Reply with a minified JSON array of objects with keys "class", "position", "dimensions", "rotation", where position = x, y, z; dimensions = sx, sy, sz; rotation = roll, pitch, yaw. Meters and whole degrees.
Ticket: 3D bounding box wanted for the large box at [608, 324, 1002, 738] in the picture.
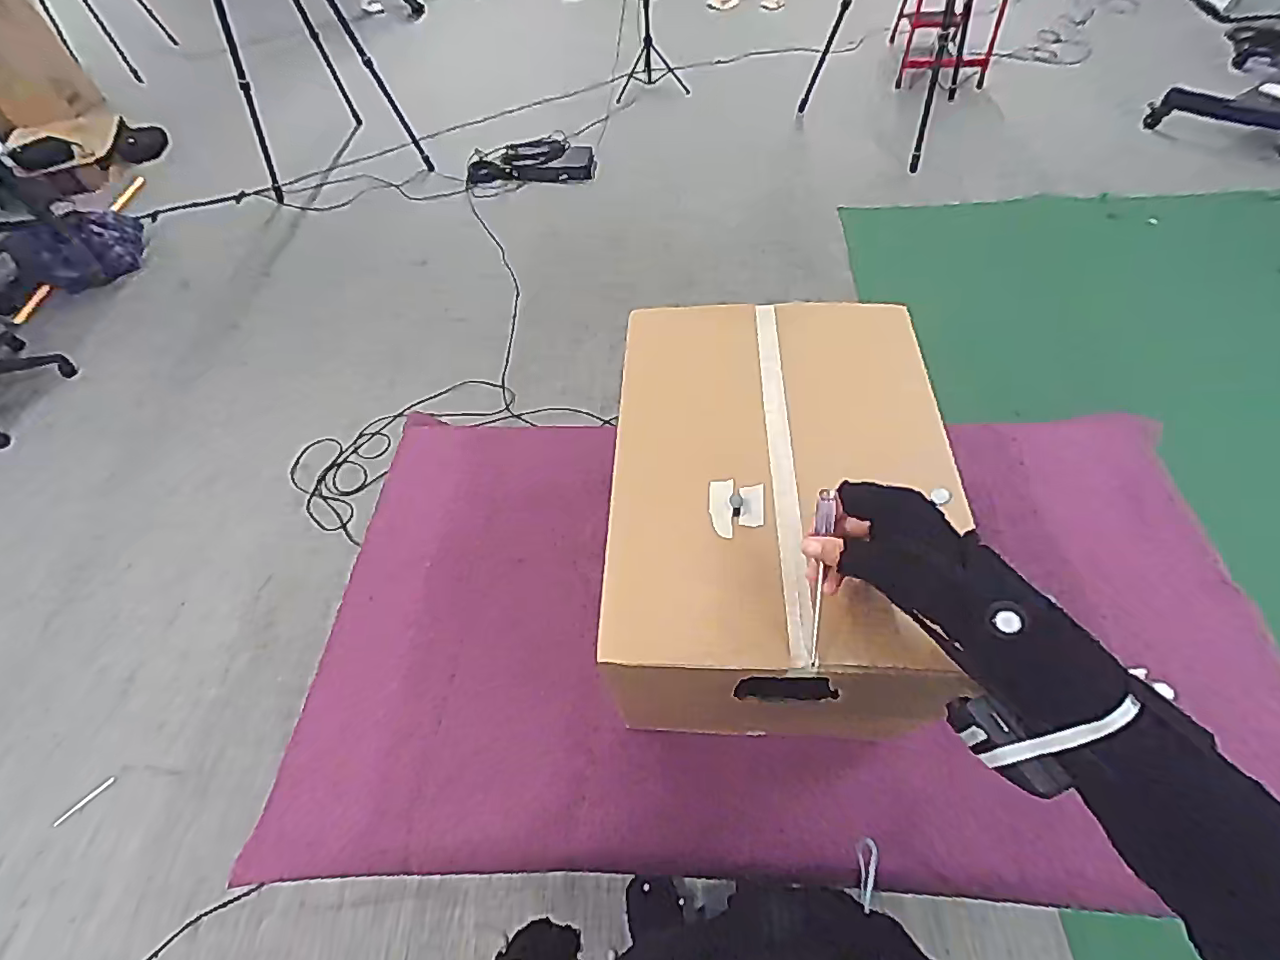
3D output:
[{"class":"large box","position":[0.141,0.066,0.653],"dimensions":[0.320,0.320,0.408],"rotation":[1,57,5]}]
